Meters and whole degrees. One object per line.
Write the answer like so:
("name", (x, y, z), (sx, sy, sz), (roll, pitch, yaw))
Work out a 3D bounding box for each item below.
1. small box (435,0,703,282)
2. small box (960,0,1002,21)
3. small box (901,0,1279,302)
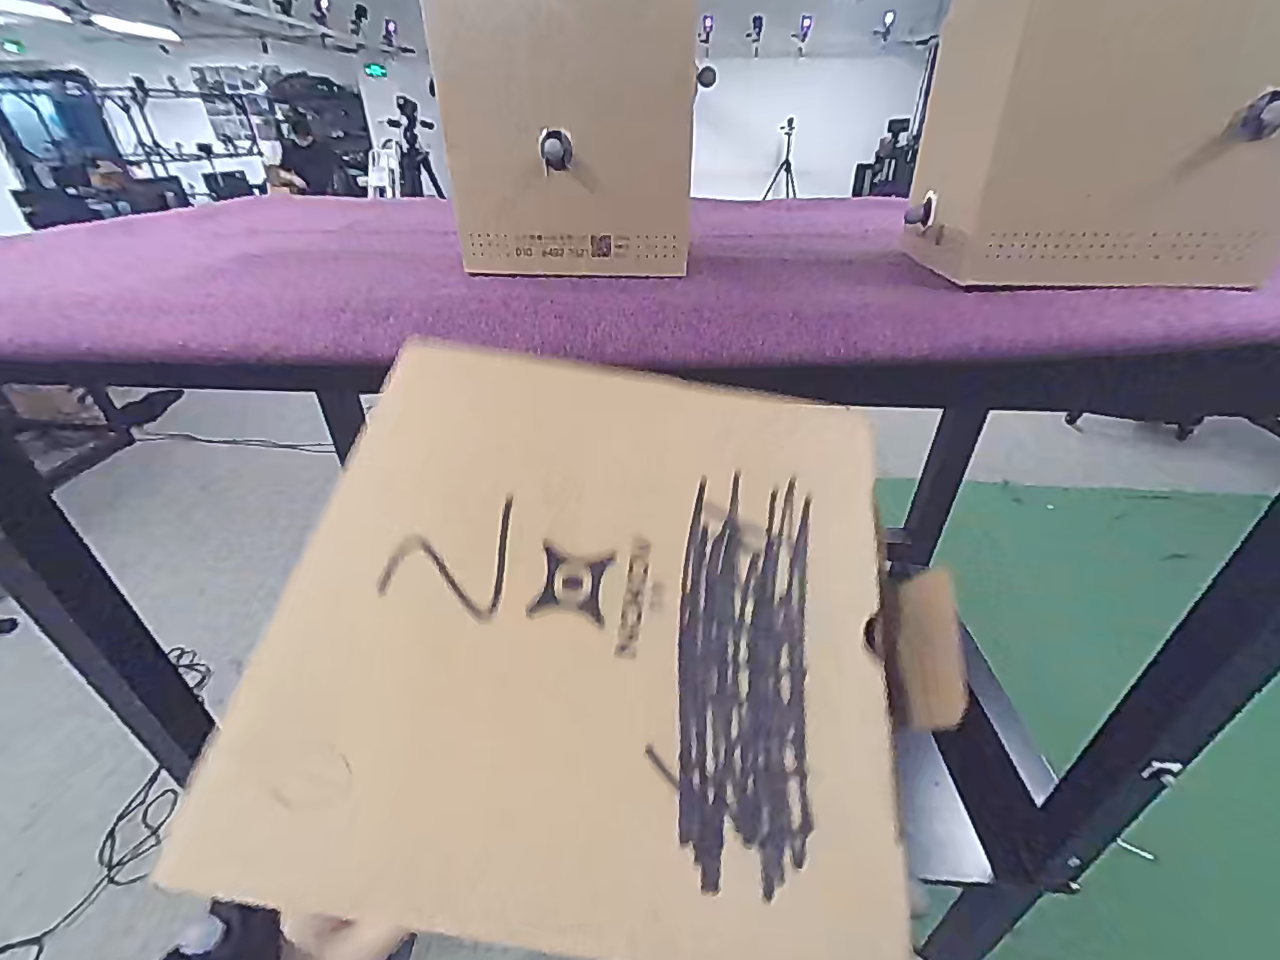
("small box", (-0.036, -0.262, 0.431), (0.168, 0.176, 0.179), (3, 32, 3))
("small box", (0.304, -0.370, 0.301), (0.179, 0.176, 0.168), (6, 30, 11))
("small box", (0.308, -0.226, 0.377), (0.179, 0.176, 0.168), (3, 30, 9))
